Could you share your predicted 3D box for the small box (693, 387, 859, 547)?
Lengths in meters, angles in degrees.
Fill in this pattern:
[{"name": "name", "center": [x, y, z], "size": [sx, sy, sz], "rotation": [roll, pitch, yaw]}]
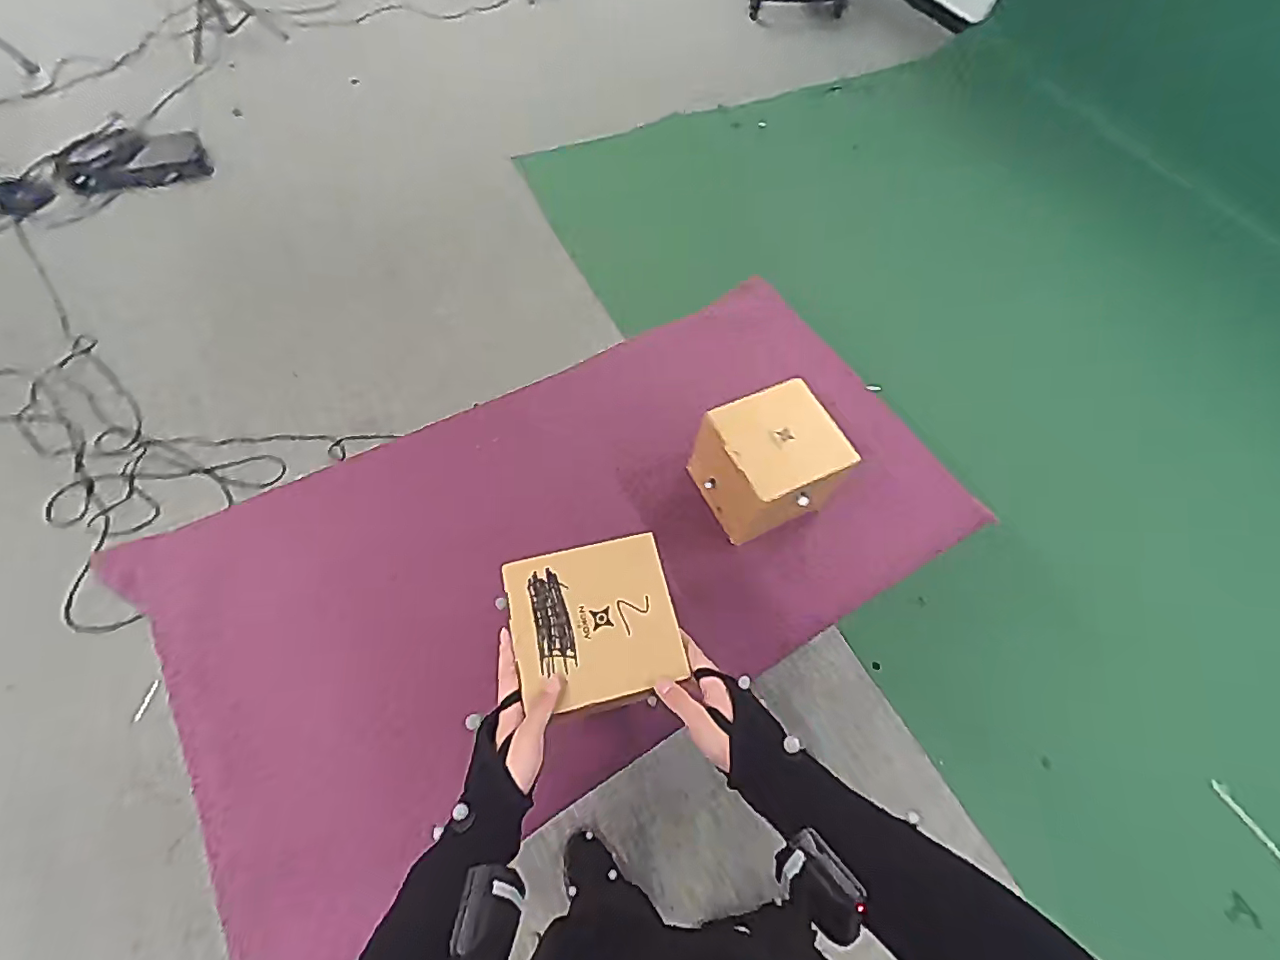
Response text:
[{"name": "small box", "center": [0.206, -0.016, 0.872], "size": [0.179, 0.176, 0.168], "rotation": [-22, 67, -16]}]
